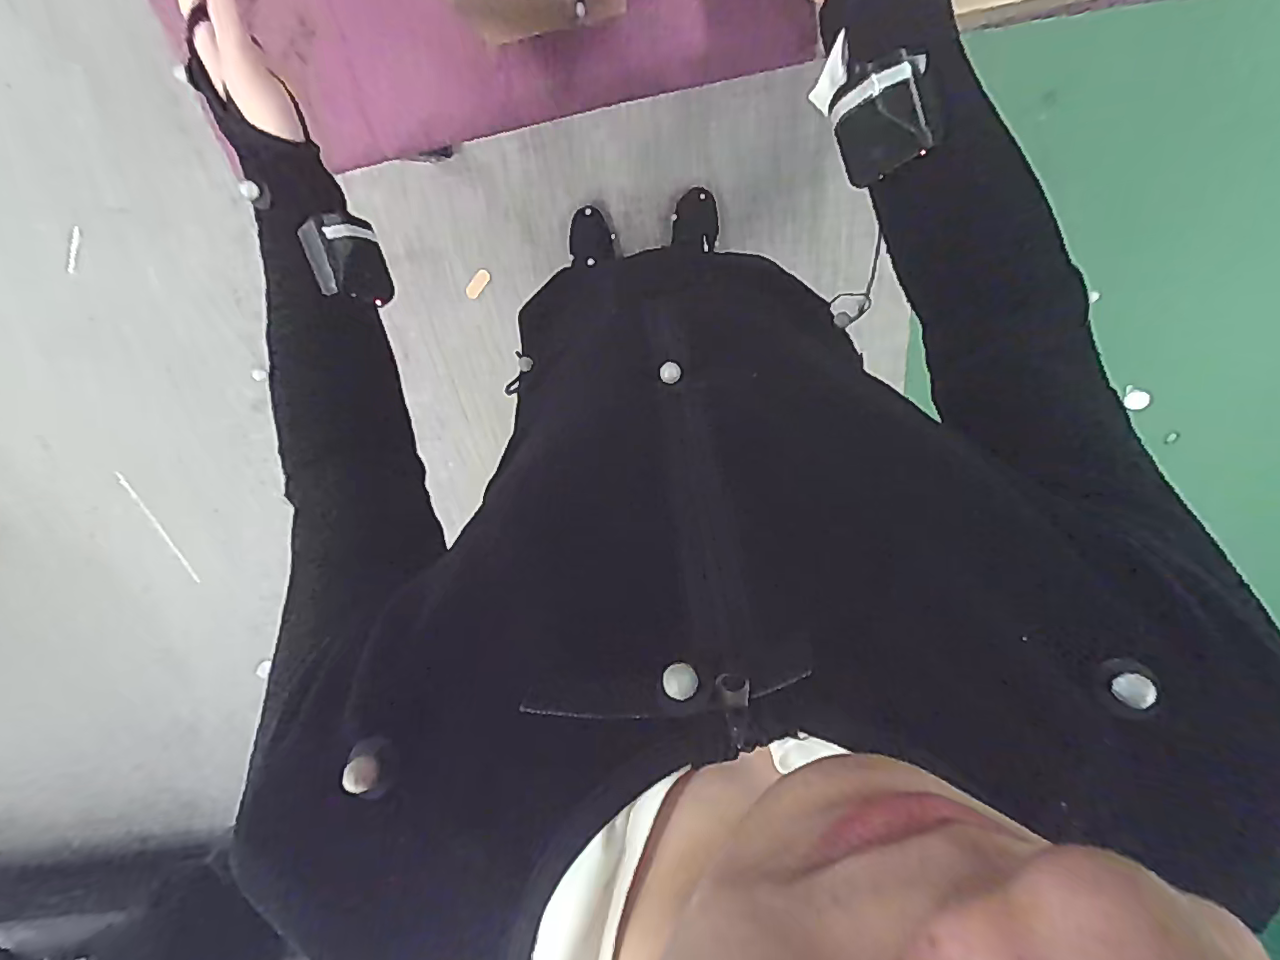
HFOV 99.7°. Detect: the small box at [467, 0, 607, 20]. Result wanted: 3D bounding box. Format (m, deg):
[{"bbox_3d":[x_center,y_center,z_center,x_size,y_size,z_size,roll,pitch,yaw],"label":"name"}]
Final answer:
[{"bbox_3d":[-0.112,-0.577,0.518,0.168,0.176,0.179,-9,118,4],"label":"small box"}]
